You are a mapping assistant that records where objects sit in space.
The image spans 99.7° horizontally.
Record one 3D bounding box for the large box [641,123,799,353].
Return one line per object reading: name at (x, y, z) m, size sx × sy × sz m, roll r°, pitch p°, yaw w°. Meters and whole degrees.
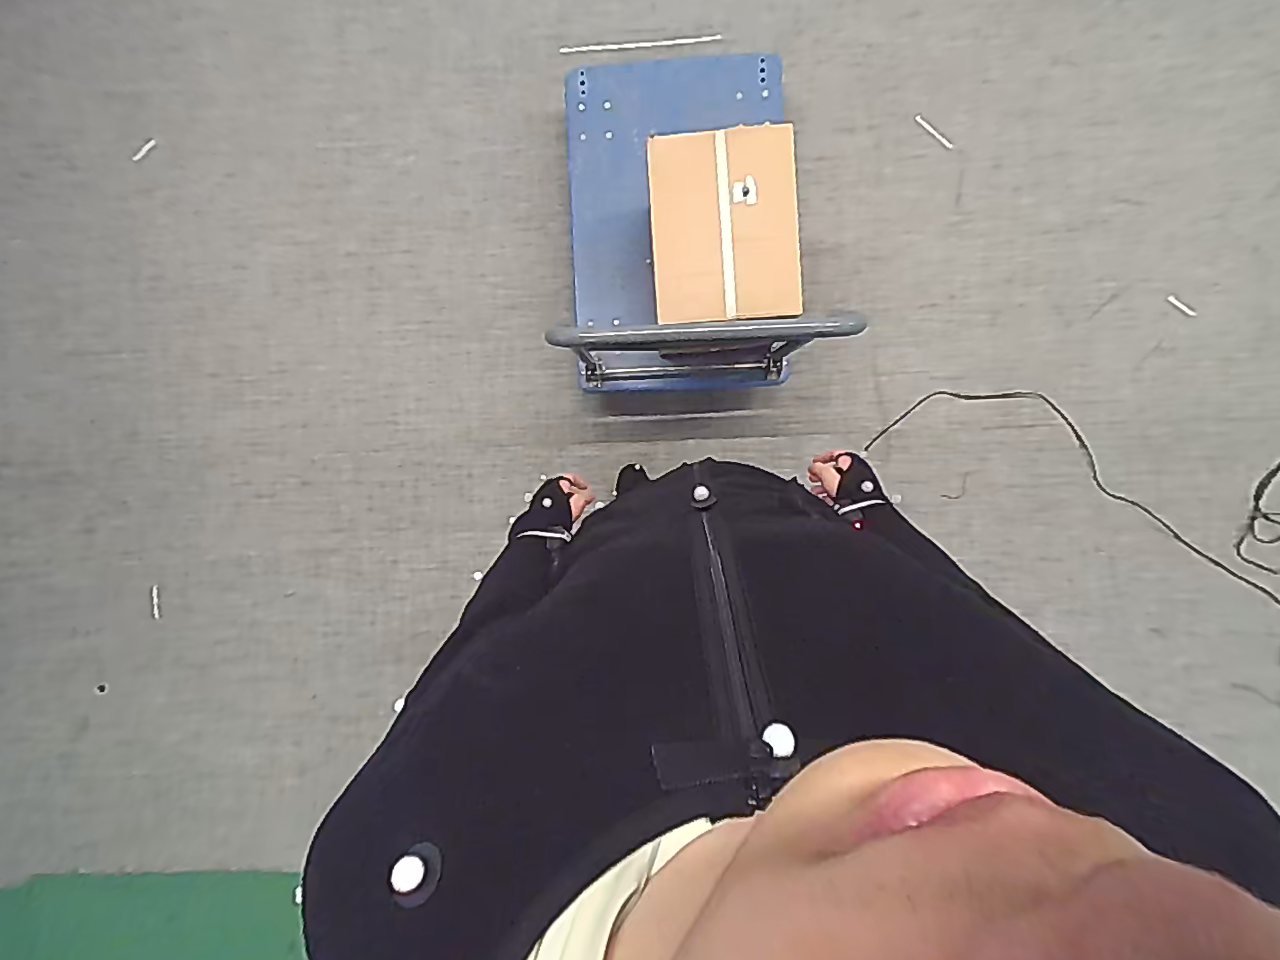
large box at (0.176, -0.545, 1.295) m, size 0.320 × 0.320 × 0.408 m, roll -4°, pitch 91°, yaw 1°
